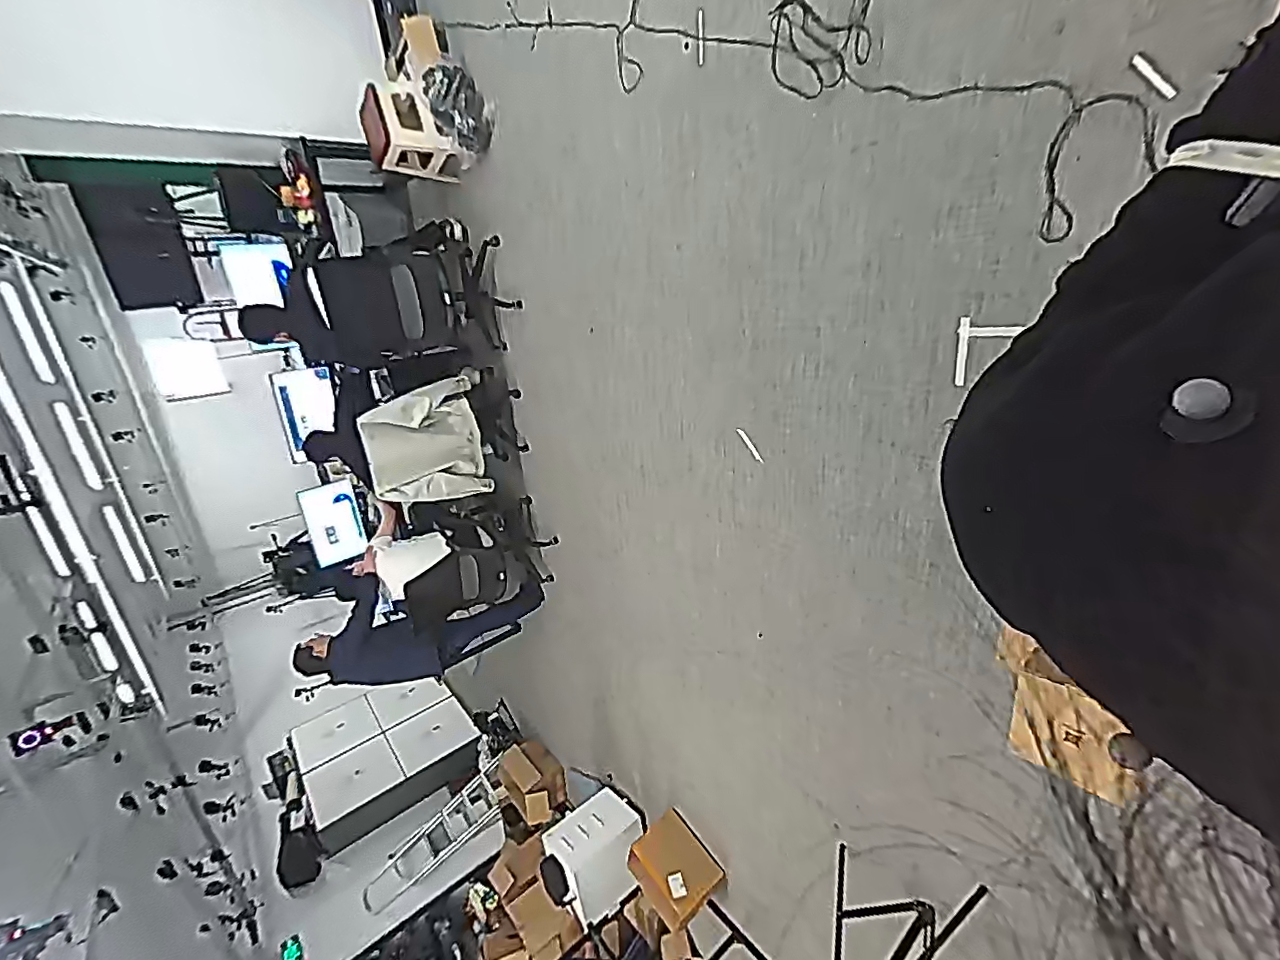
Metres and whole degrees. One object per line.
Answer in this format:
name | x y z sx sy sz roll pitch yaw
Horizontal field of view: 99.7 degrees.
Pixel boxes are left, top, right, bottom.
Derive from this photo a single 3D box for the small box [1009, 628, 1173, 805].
small box | 0.746 0.376 0.897 0.168 0.176 0.179 17 120 49
